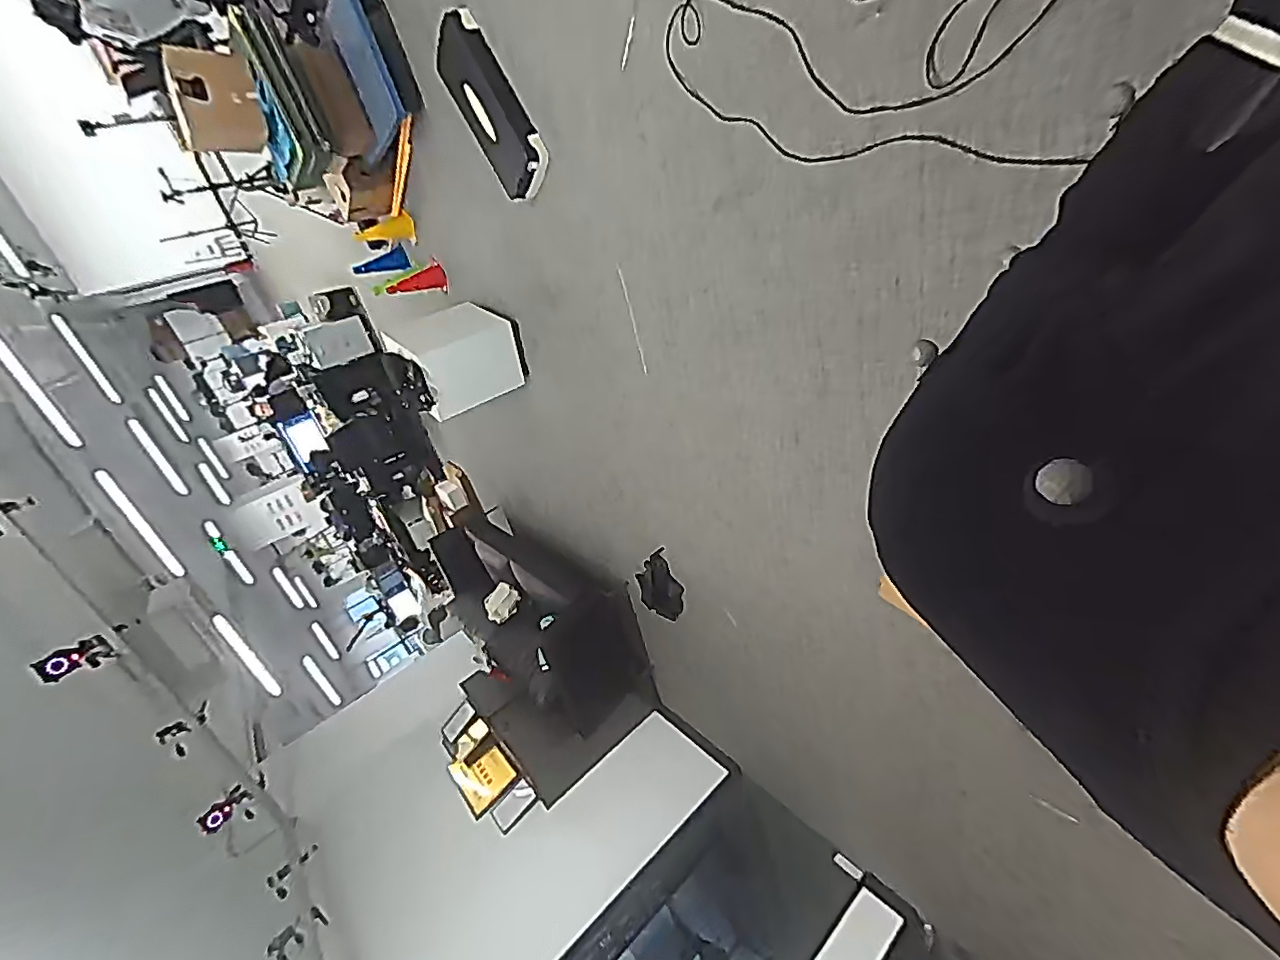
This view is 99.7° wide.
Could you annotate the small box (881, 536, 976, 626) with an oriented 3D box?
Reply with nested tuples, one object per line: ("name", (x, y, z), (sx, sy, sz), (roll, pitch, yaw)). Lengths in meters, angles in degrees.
("small box", (0.867, 0.295, 1.630), (0.179, 0.176, 0.168), (34, 144, 35))
